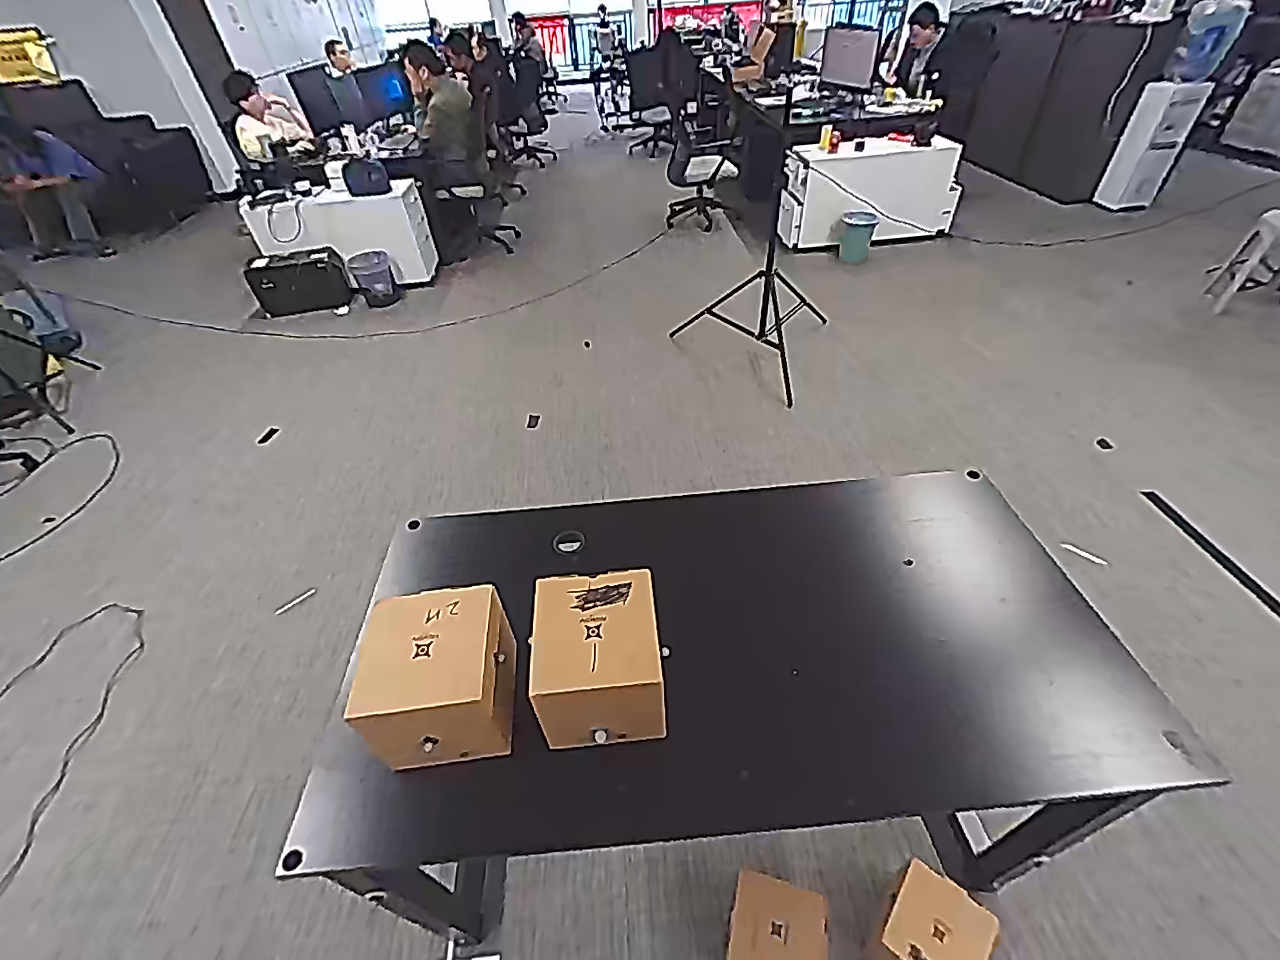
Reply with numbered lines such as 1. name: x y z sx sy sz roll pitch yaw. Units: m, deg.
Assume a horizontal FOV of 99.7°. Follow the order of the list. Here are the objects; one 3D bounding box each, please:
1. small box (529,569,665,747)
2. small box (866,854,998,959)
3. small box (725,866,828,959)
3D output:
1. small box: -0.055 0.252 0.770 0.168 0.176 0.179 -6 43 -1
2. small box: 0.575 0.906 1.082 0.168 0.176 0.179 27 51 30
3. small box: 0.273 0.922 1.095 0.179 0.176 0.168 8 44 15
